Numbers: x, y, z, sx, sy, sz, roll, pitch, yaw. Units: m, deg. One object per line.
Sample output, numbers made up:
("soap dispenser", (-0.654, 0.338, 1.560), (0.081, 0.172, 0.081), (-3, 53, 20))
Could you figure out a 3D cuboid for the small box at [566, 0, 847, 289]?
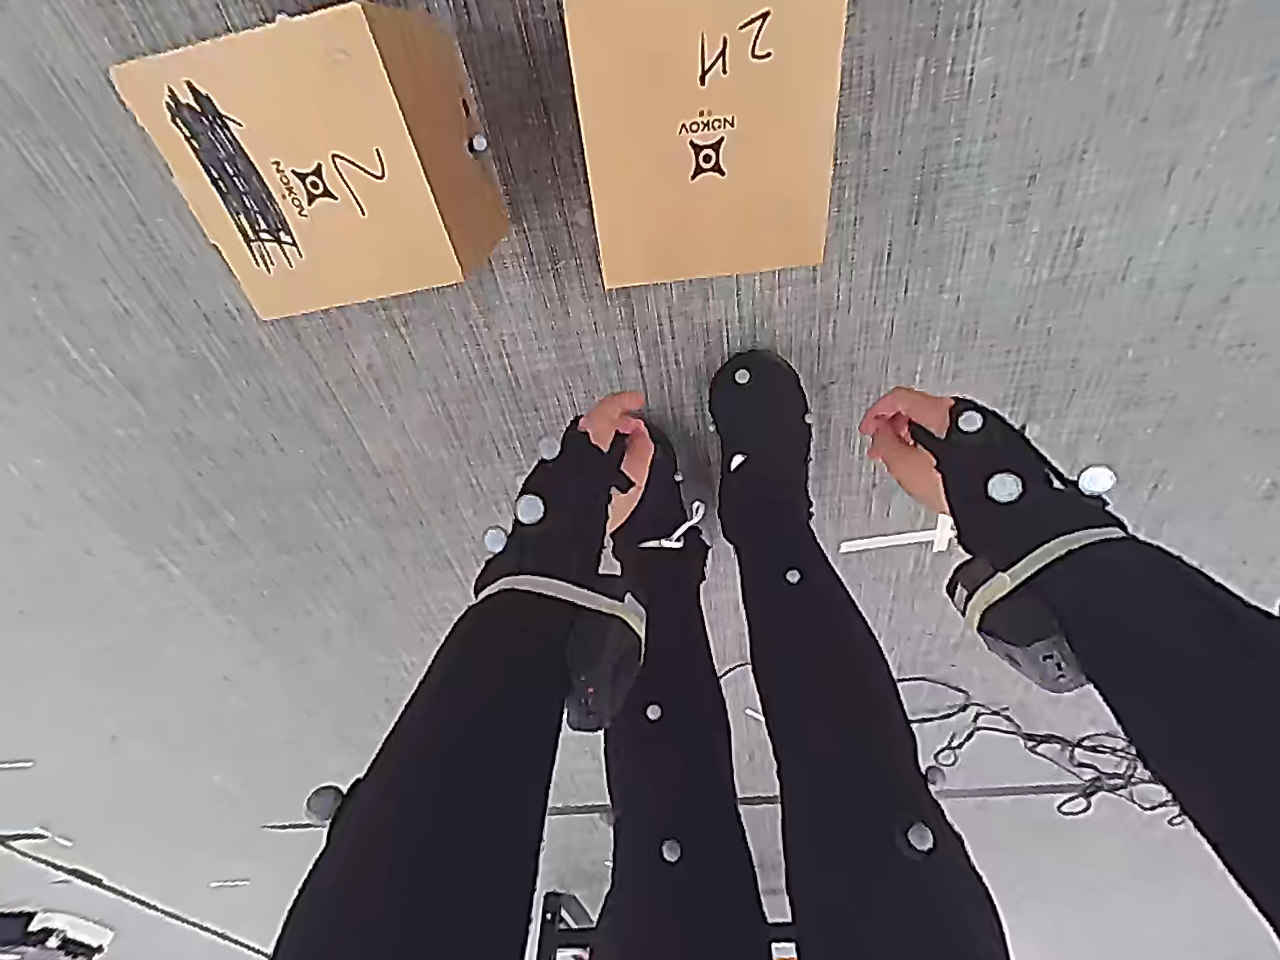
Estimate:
("small box", (0.046, -0.269, 0.420), (0.168, 0.176, 0.179), (-5, 127, 3))
